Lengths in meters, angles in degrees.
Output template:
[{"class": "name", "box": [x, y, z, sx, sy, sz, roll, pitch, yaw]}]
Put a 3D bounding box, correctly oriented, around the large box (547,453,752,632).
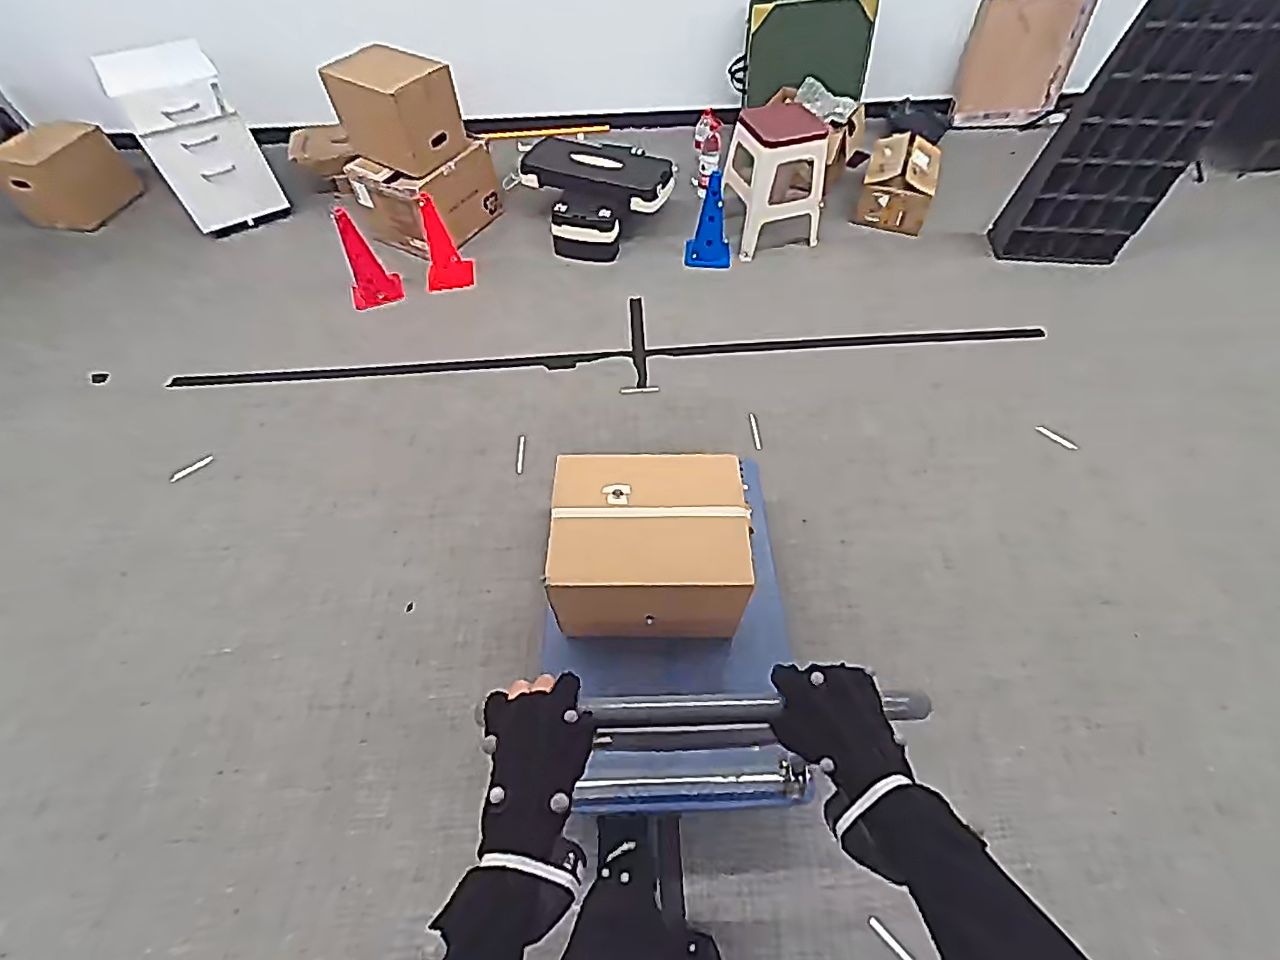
[{"class": "large box", "box": [0.020, 0.153, 1.245, 0.408, 0.320, 0.320, -1, 56, 1]}]
